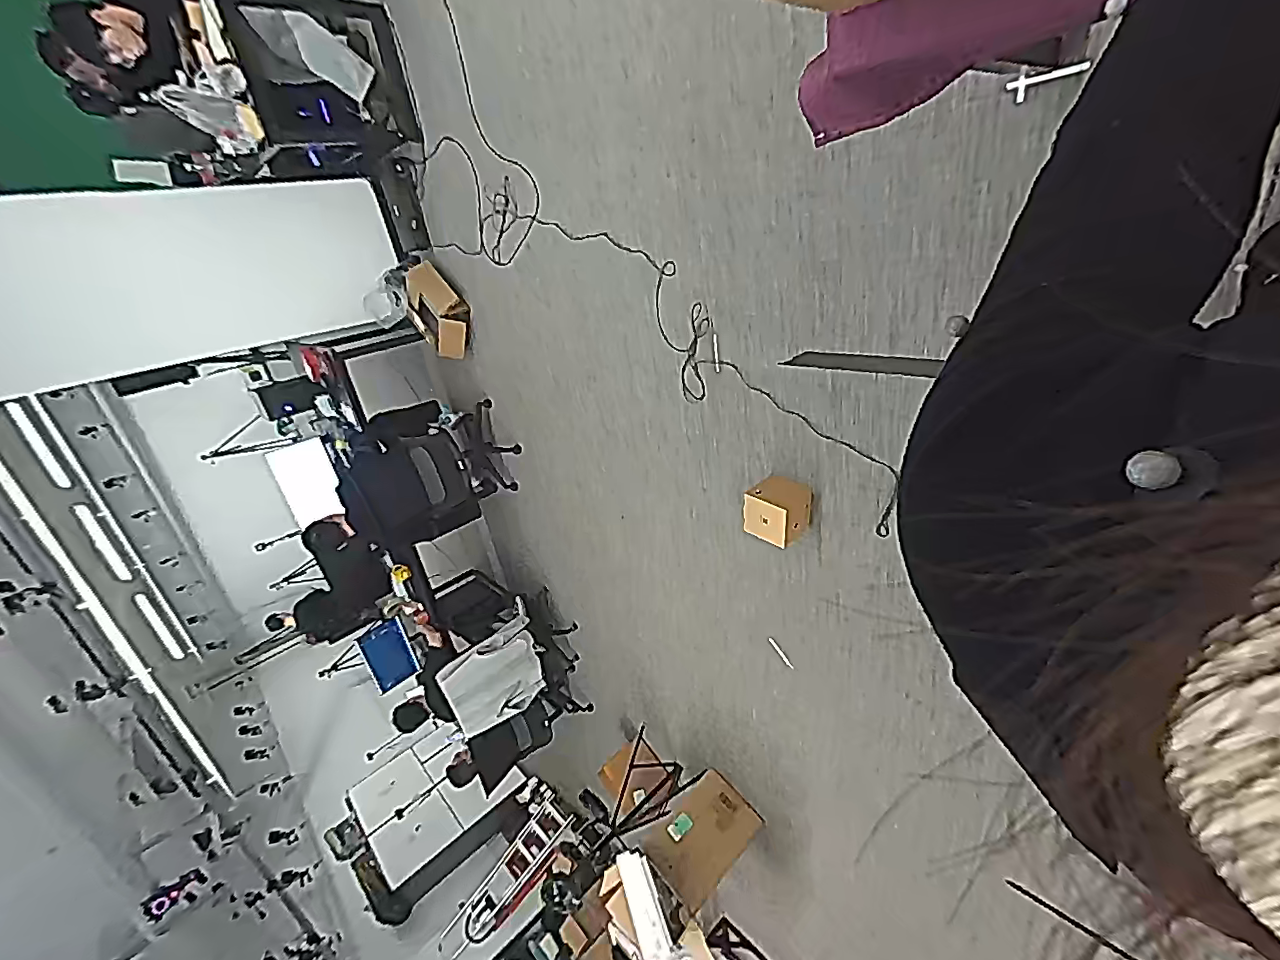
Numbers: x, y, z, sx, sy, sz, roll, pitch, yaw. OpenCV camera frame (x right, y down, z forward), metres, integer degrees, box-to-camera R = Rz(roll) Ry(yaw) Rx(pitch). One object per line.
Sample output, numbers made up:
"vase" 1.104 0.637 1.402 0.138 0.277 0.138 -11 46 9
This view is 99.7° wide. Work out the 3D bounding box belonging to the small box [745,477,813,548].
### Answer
"small box" 0.495 0.109 1.927 0.179 0.176 0.168 25 132 42
